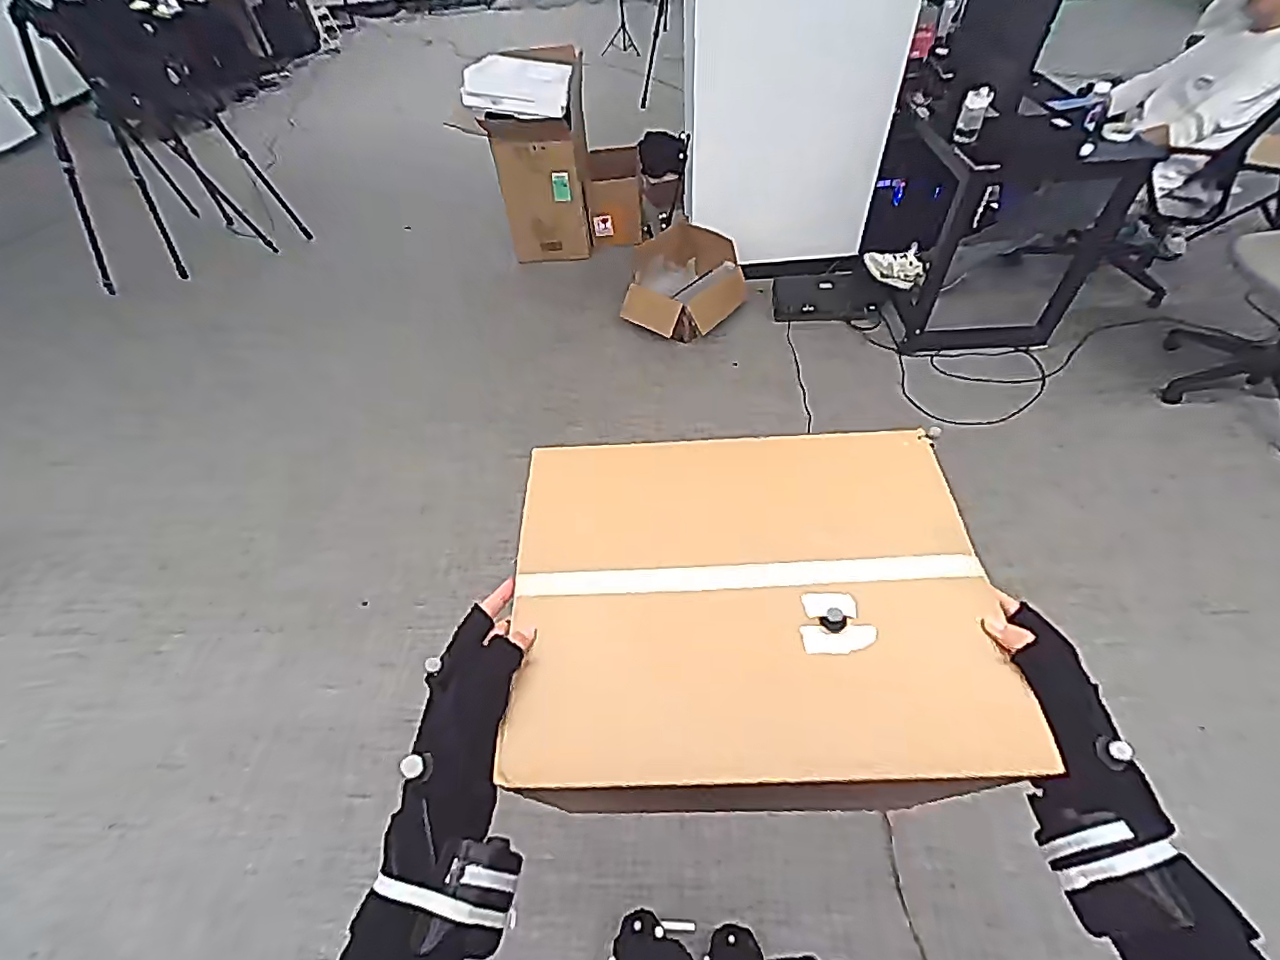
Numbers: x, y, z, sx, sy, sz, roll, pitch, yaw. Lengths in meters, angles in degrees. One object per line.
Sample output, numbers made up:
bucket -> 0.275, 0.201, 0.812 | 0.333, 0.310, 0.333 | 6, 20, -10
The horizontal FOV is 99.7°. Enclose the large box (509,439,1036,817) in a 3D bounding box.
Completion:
large box -> 0.099, 0.179, 0.609 | 0.408, 0.320, 0.320 | -3, 55, 2
